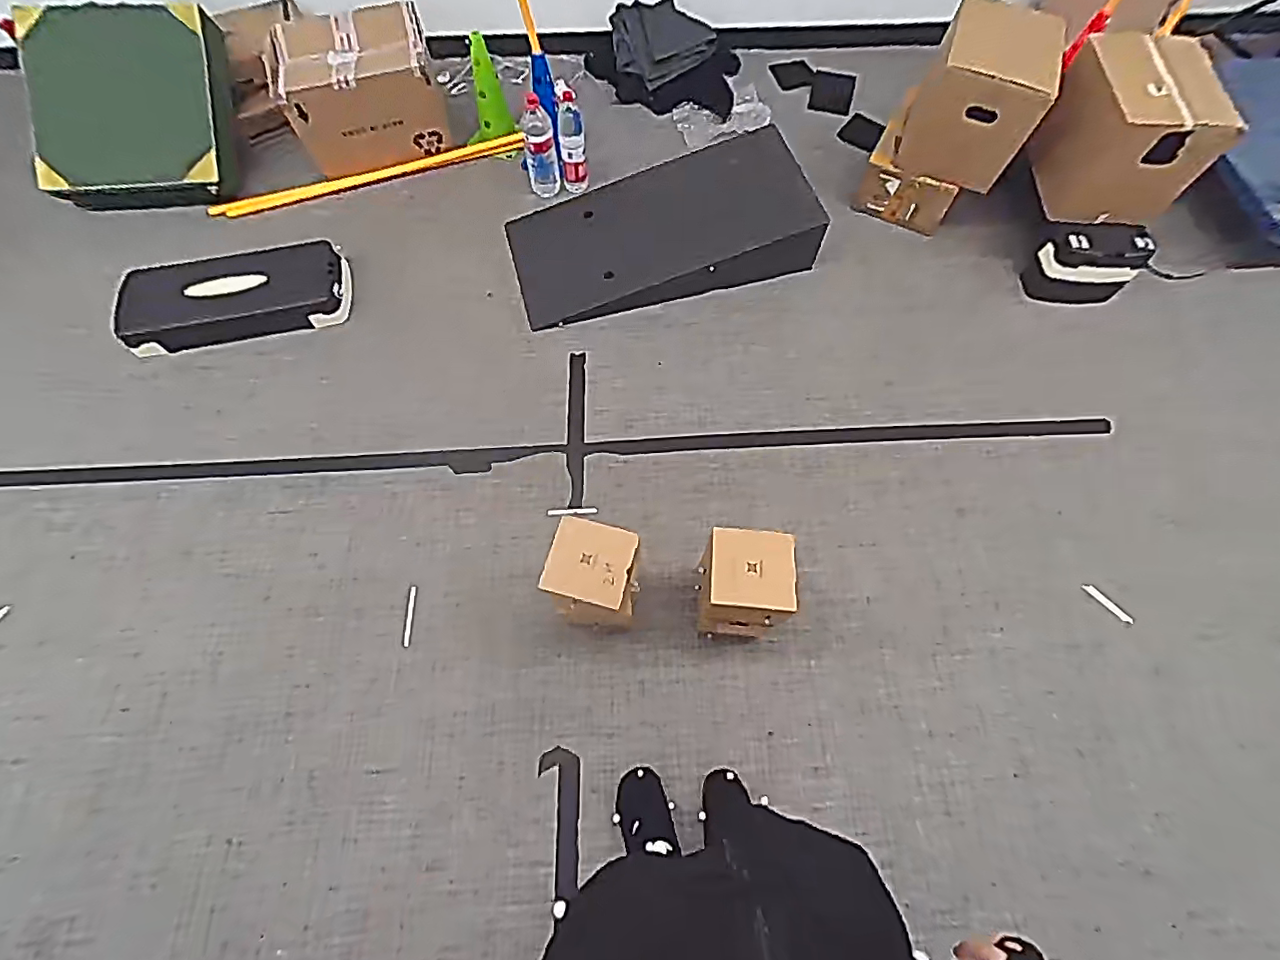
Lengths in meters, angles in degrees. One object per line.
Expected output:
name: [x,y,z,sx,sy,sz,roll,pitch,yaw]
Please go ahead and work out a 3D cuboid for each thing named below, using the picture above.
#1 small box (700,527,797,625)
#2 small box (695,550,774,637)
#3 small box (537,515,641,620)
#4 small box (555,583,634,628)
small box: [0.232,0.215,1.178,0.179,0.176,0.168,6,66,2]
small box: [0.228,0.284,1.326,0.168,0.176,0.179,4,66,1]
small box: [-0.103,0.197,1.178,0.179,0.176,0.168,15,68,6]
small box: [-0.103,0.266,1.329,0.179,0.176,0.168,4,66,0]
